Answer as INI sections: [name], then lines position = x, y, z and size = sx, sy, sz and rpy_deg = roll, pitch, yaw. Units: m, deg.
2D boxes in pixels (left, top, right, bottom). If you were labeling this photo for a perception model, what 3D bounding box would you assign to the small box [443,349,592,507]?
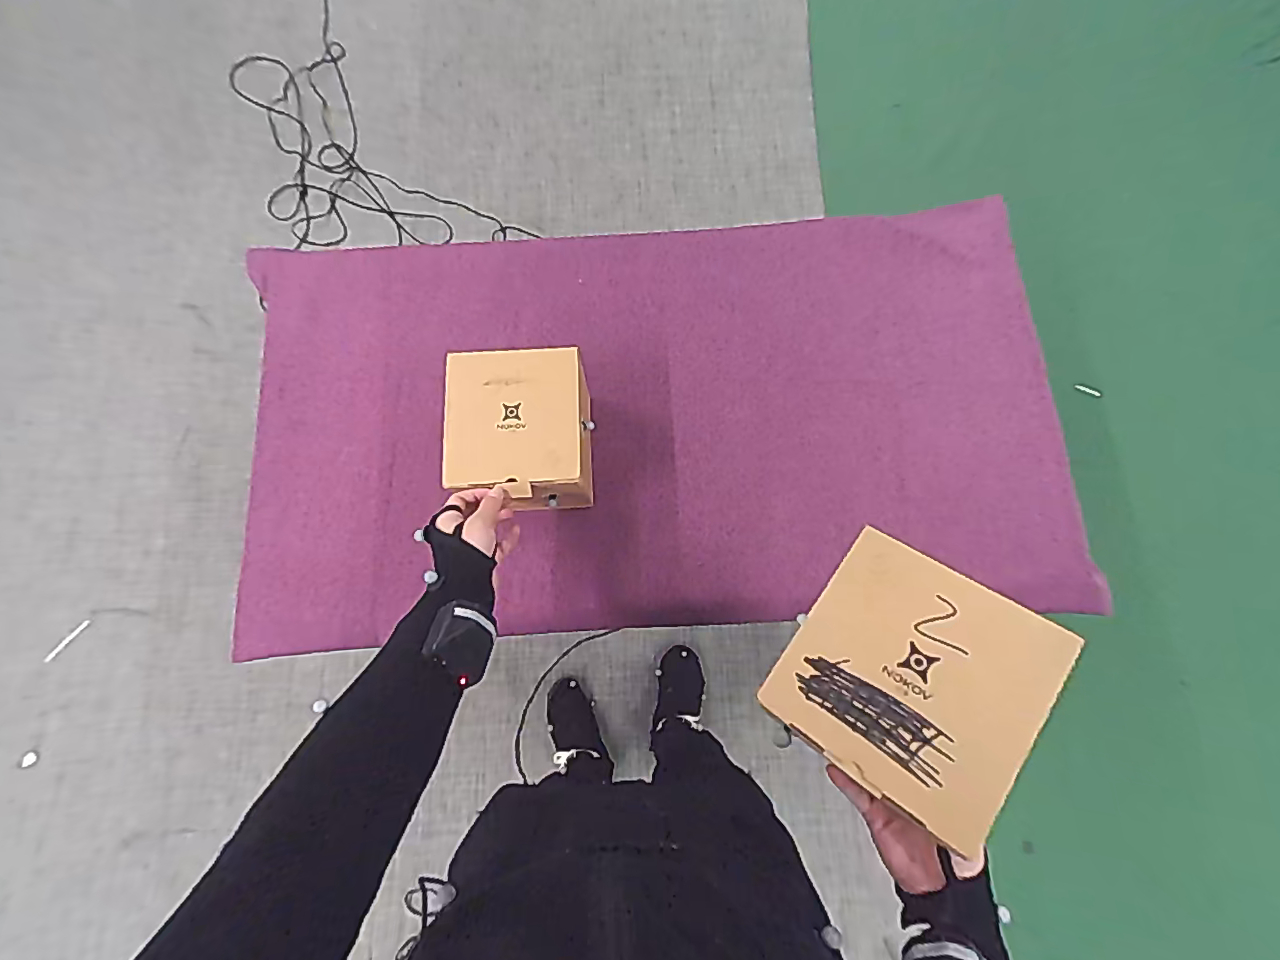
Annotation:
[small box]
position = -0.156, -0.060, 0.739
size = 0.168, 0.176, 0.179
rpy_deg = -3, 76, 0
